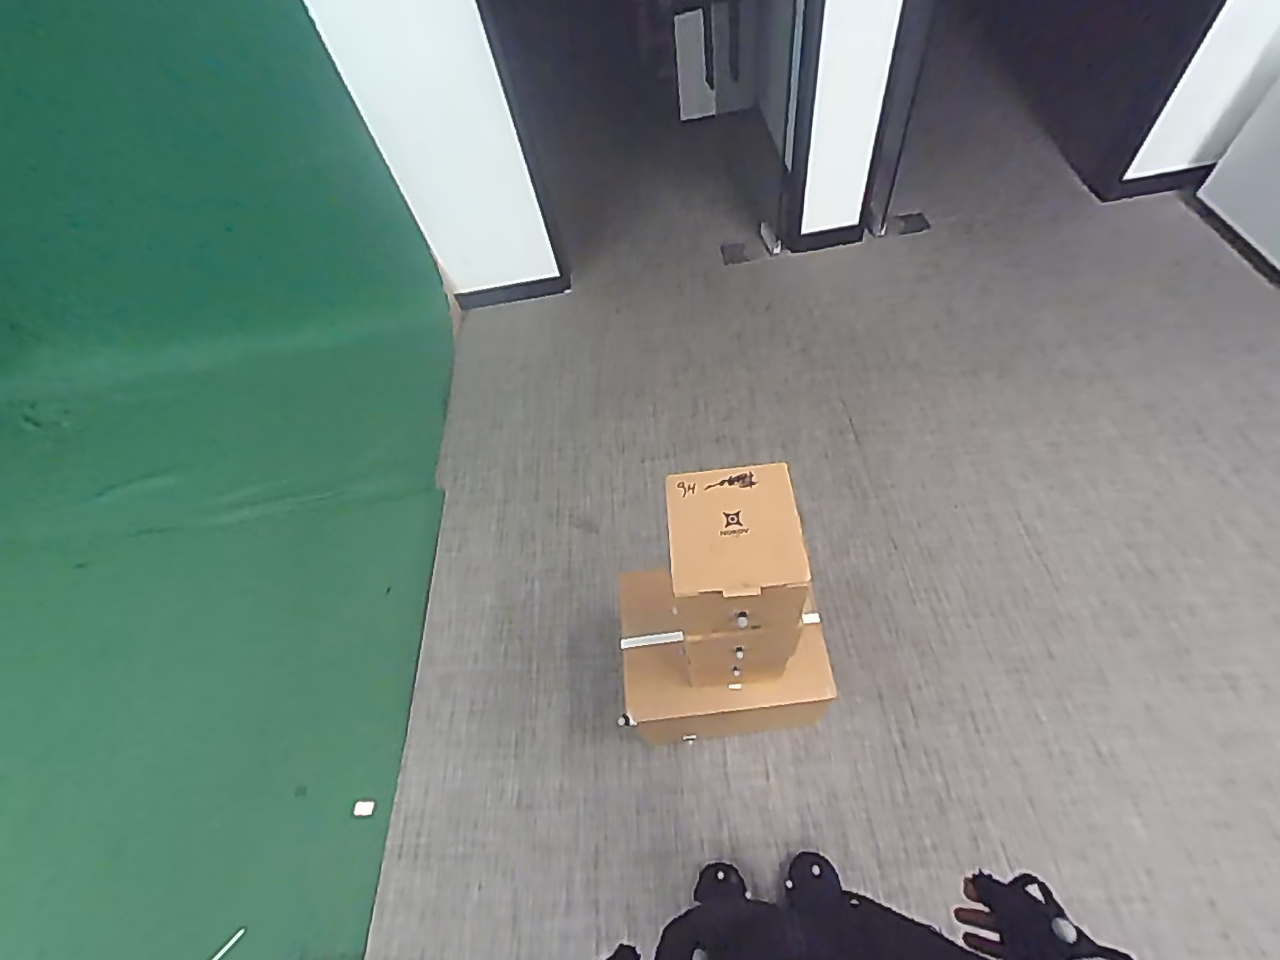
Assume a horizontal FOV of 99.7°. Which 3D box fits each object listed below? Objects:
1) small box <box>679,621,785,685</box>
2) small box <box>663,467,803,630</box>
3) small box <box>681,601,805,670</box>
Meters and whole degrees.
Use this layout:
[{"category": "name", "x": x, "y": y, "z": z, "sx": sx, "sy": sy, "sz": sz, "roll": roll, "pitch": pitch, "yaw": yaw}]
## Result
[{"category": "small box", "x": 0.167, "y": 0.283, "z": 1.025, "sx": 0.179, "sy": 0.176, "sz": 0.168, "roll": -7, "pitch": 57, "yaw": 4}, {"category": "small box", "x": 0.125, "y": 0.104, "z": 0.754, "sx": 0.168, "sy": 0.176, "sz": 0.179, "roll": -6, "pitch": 58, "yaw": 7}, {"category": "small box", "x": 0.151, "y": 0.200, "z": 0.885, "sx": 0.179, "sy": 0.176, "sz": 0.168, "roll": -10, "pitch": 57, "yaw": 2}]
